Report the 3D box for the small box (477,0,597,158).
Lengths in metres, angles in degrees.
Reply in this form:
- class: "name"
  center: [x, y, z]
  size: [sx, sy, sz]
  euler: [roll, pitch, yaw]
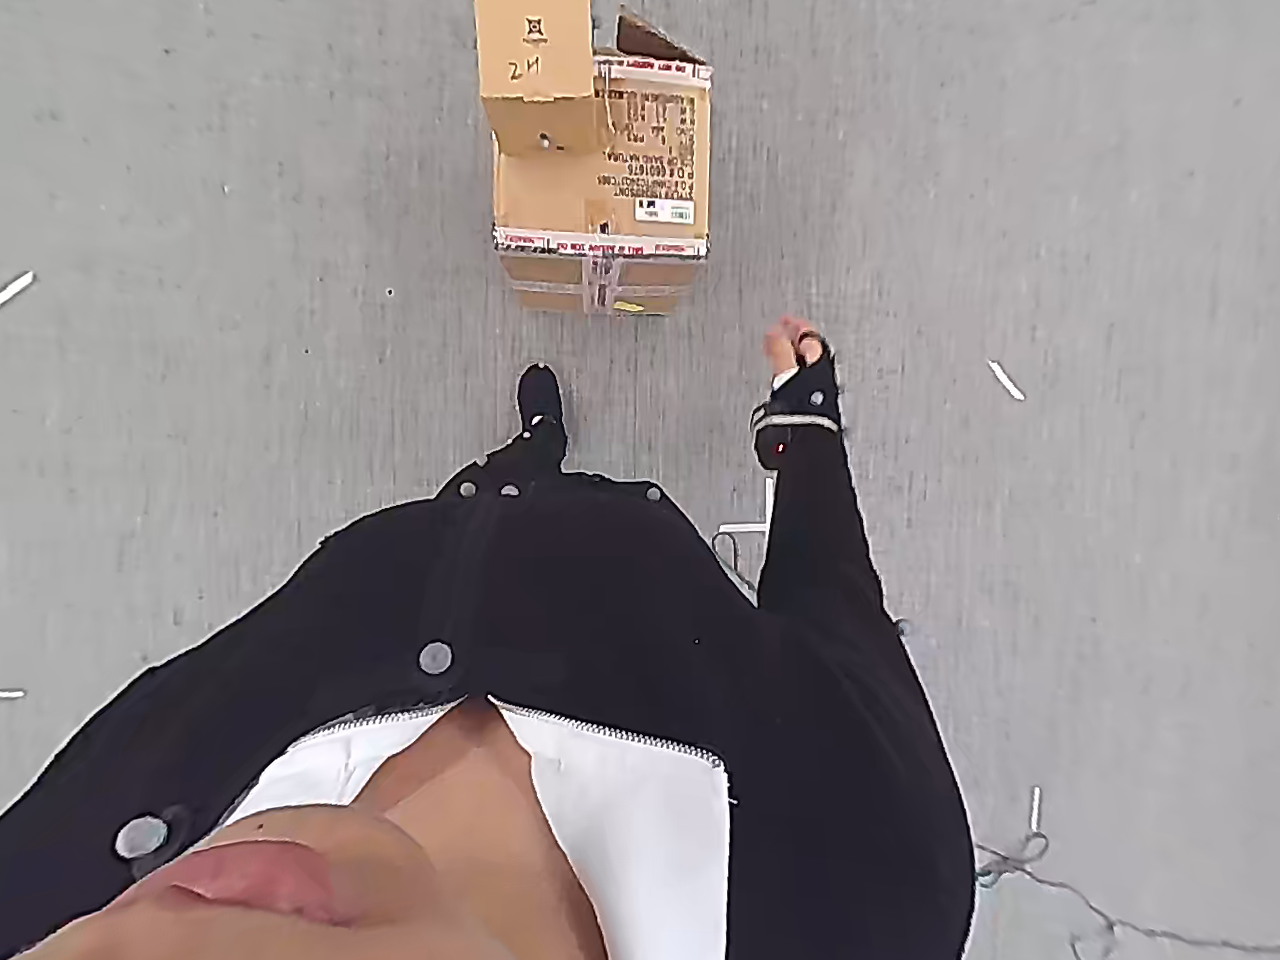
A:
- class: "small box"
  center: [-0.155, -0.641, 0.854]
  size: [0.168, 0.176, 0.179]
  euler: [-3, 97, -3]
